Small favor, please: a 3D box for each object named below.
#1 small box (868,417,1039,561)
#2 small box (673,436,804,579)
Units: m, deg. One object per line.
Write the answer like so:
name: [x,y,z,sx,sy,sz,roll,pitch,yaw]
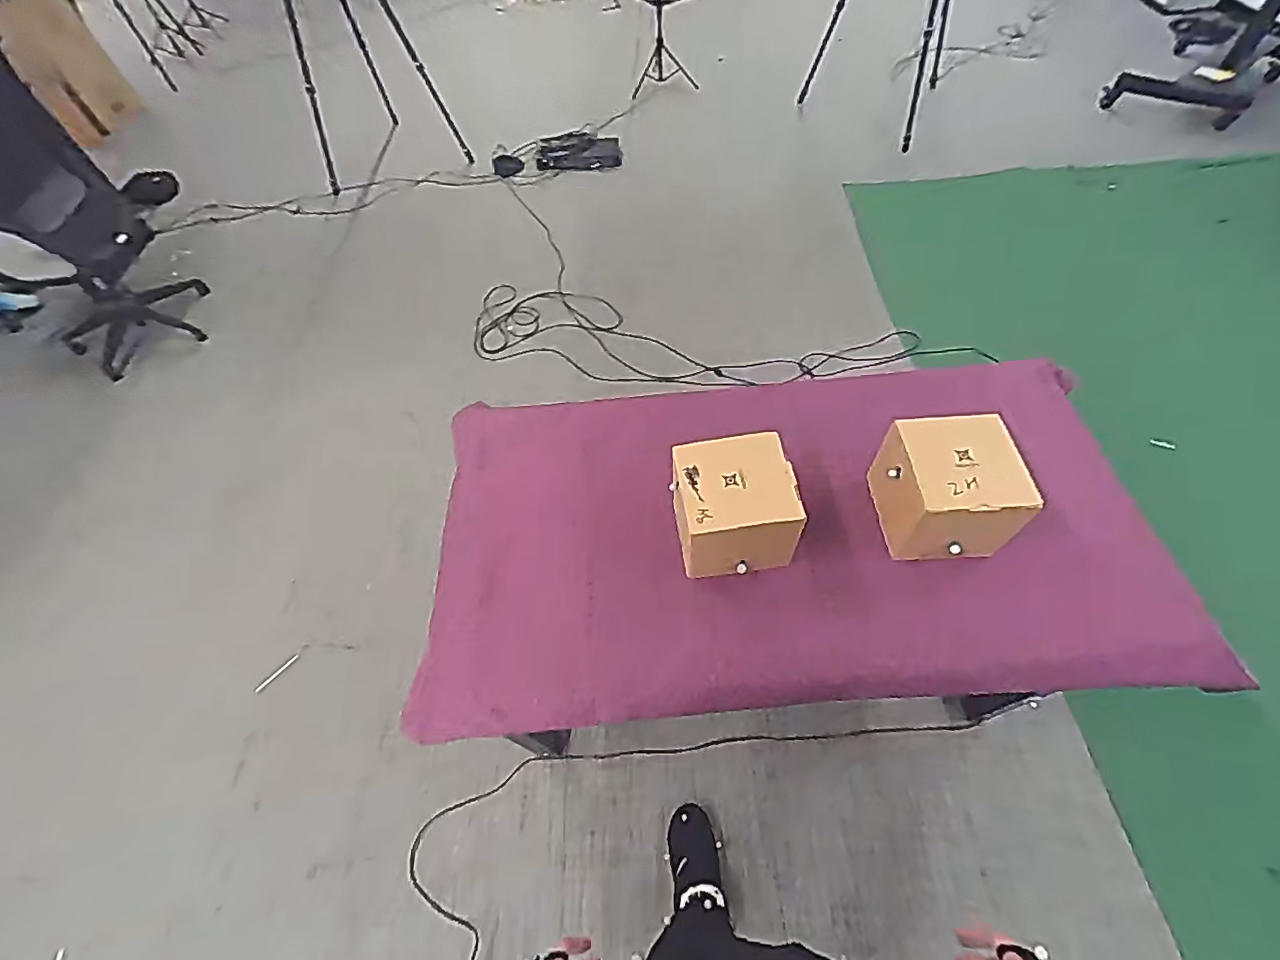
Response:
small box: [0.494,0.018,0.889,0.168,0.176,0.179,-3,56,3]
small box: [0.151,0.050,0.896,0.179,0.176,0.168,-7,56,-1]
